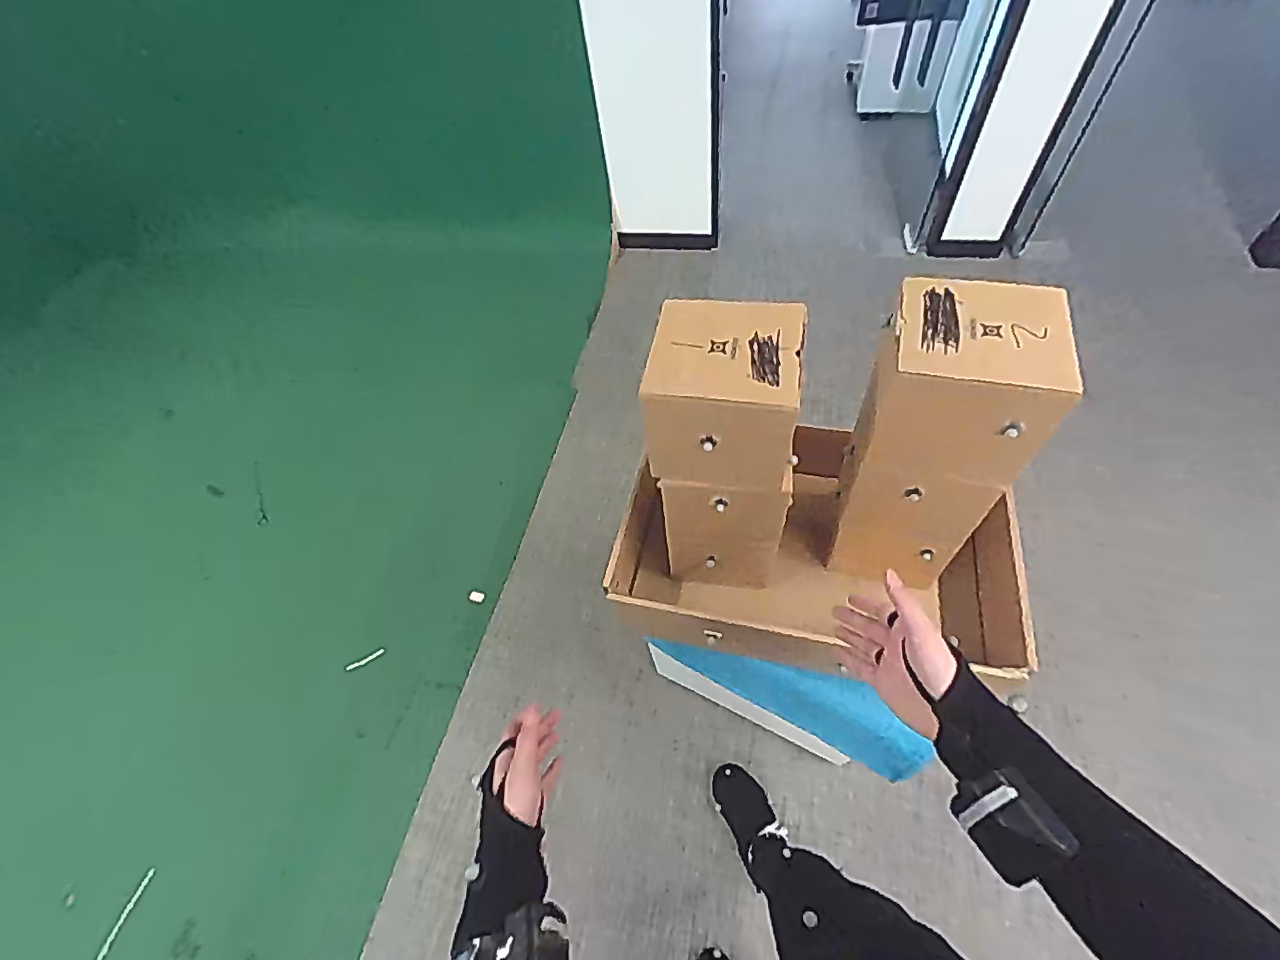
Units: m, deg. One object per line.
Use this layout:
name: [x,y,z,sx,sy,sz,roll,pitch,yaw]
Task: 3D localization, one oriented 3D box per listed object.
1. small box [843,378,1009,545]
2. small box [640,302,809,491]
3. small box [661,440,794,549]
small box: [0.407,-0.023,0.792,0.179,0.176,0.168,11,59,15]
small box: [0.110,-0.102,0.688,0.179,0.176,0.168,6,57,13]
small box: [0.134,-0.008,0.821,0.179,0.176,0.168,4,57,10]
